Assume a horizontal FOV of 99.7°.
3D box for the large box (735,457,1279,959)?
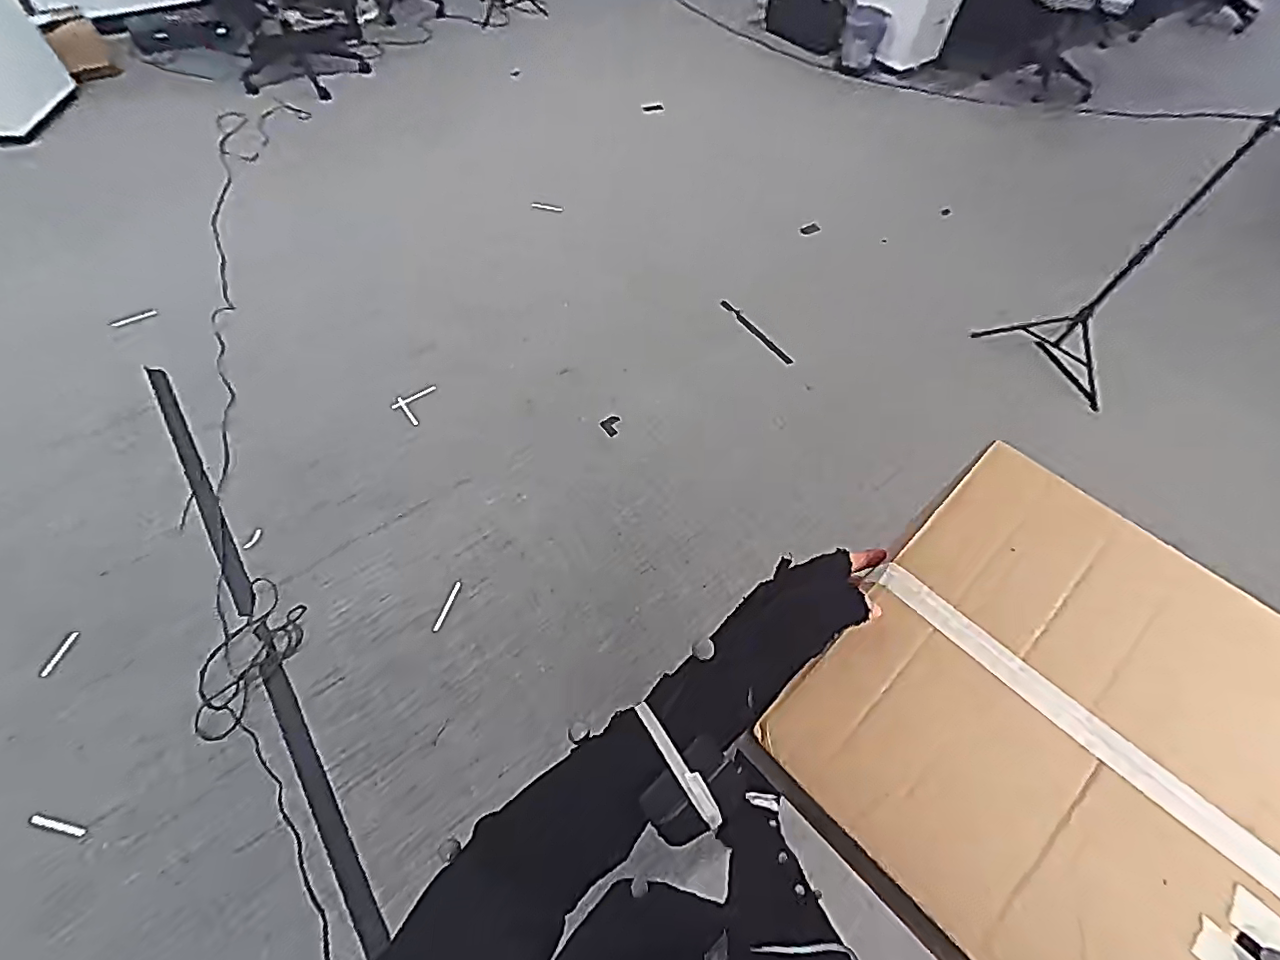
[{"bbox_3d":[0.342,0.259,0.486,0.320,0.320,0.408,-43,68,-13],"label":"large box"}]
